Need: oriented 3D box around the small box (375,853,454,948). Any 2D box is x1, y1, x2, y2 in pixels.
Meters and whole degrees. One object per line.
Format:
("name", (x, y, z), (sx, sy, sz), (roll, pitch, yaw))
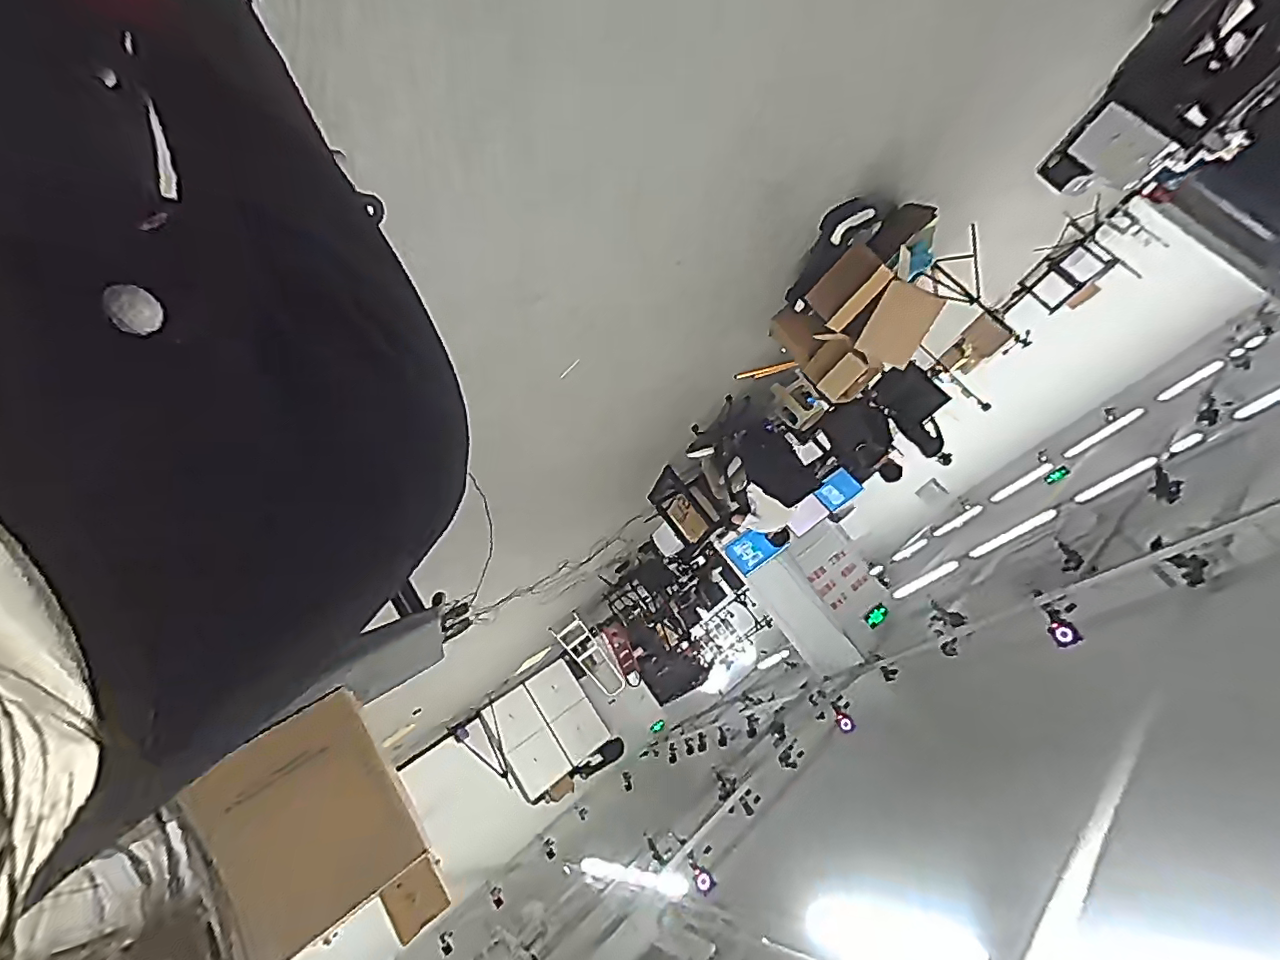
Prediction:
("small box", (-0.729, 1.352, 1.751), (0.168, 0.176, 0.179), (-32, 161, -26))
